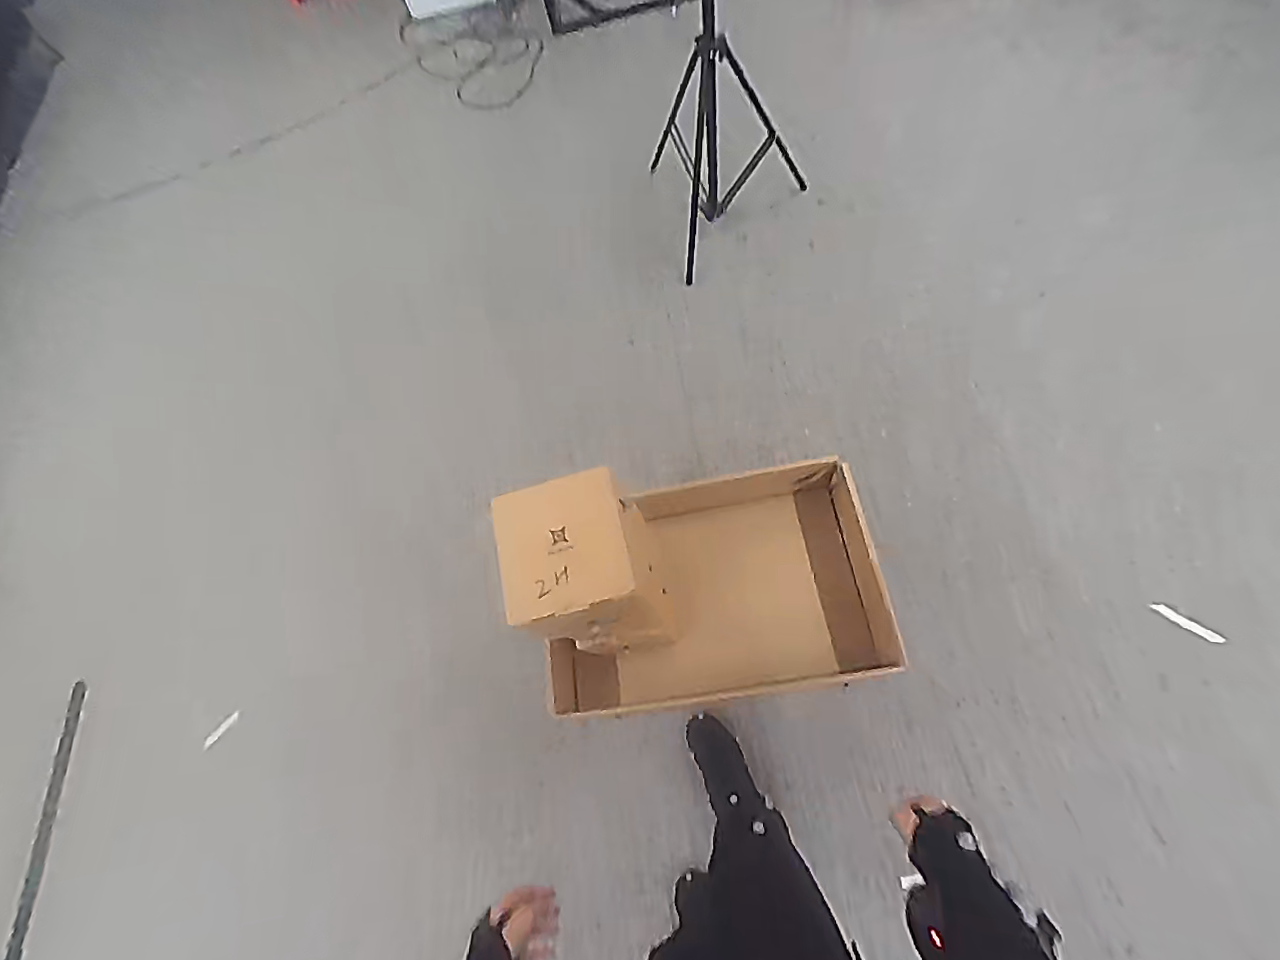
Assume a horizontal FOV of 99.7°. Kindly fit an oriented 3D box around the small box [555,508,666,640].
[{"bbox_3d":[-0.056,0.166,0.905,0.168,0.176,0.179,-12,66,6],"label":"small box"}]

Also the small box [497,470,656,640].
[{"bbox_3d":[-0.082,0.112,0.753,0.168,0.176,0.179,-16,67,5],"label":"small box"}]

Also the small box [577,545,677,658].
[{"bbox_3d":[-0.029,0.239,1.050,0.168,0.176,0.179,-13,67,6],"label":"small box"}]
